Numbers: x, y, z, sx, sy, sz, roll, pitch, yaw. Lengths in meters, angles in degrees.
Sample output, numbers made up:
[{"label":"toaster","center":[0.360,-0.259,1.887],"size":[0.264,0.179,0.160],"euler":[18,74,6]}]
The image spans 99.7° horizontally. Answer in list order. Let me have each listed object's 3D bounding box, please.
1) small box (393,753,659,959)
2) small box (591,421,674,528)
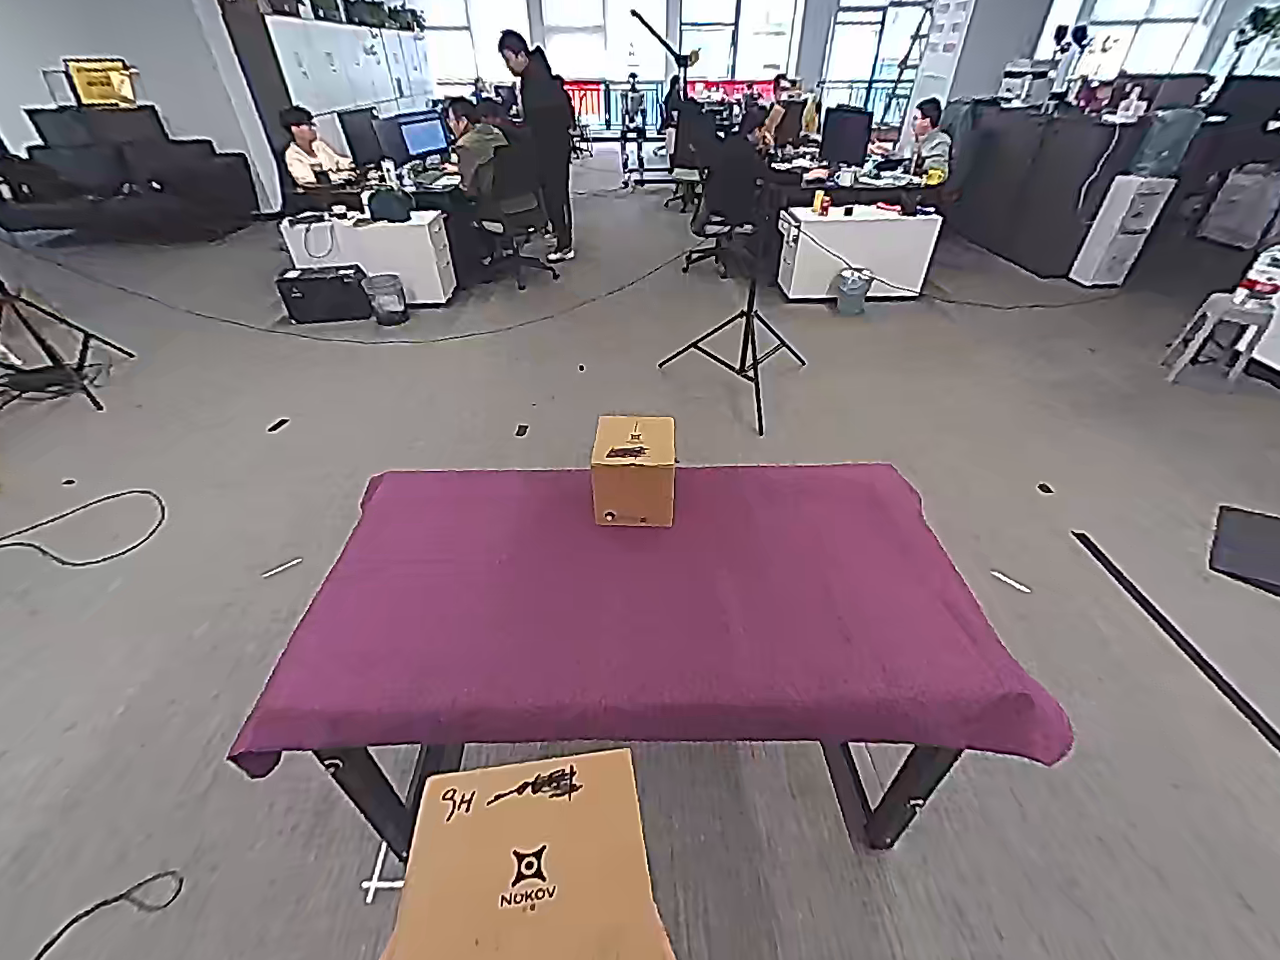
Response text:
[{"label":"small box","center":[-0.074,0.344,0.404],"size":[0.168,0.176,0.179],"euler":[-5,29,-8]},{"label":"small box","center":[-0.010,-0.011,1.169],"size":[0.168,0.176,0.179],"euler":[1,39,2]}]
